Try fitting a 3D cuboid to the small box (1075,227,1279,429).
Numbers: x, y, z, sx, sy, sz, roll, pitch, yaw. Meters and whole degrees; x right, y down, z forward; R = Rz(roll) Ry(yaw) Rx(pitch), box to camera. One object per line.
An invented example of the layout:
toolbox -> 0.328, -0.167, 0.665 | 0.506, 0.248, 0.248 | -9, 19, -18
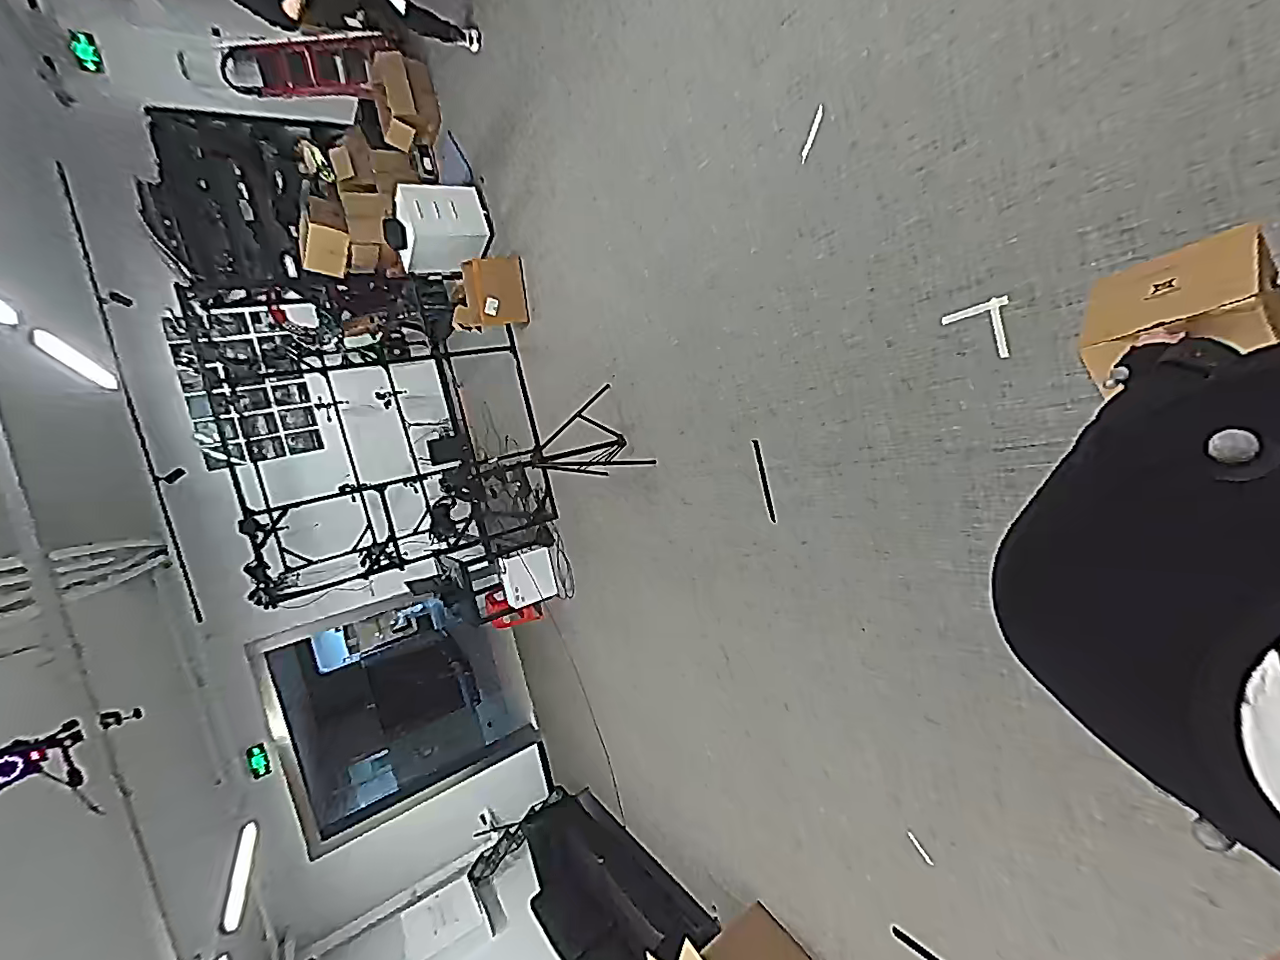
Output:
small box -> 0.720, -0.184, 0.715 | 0.176, 0.179, 0.168 | 48, 150, -17
